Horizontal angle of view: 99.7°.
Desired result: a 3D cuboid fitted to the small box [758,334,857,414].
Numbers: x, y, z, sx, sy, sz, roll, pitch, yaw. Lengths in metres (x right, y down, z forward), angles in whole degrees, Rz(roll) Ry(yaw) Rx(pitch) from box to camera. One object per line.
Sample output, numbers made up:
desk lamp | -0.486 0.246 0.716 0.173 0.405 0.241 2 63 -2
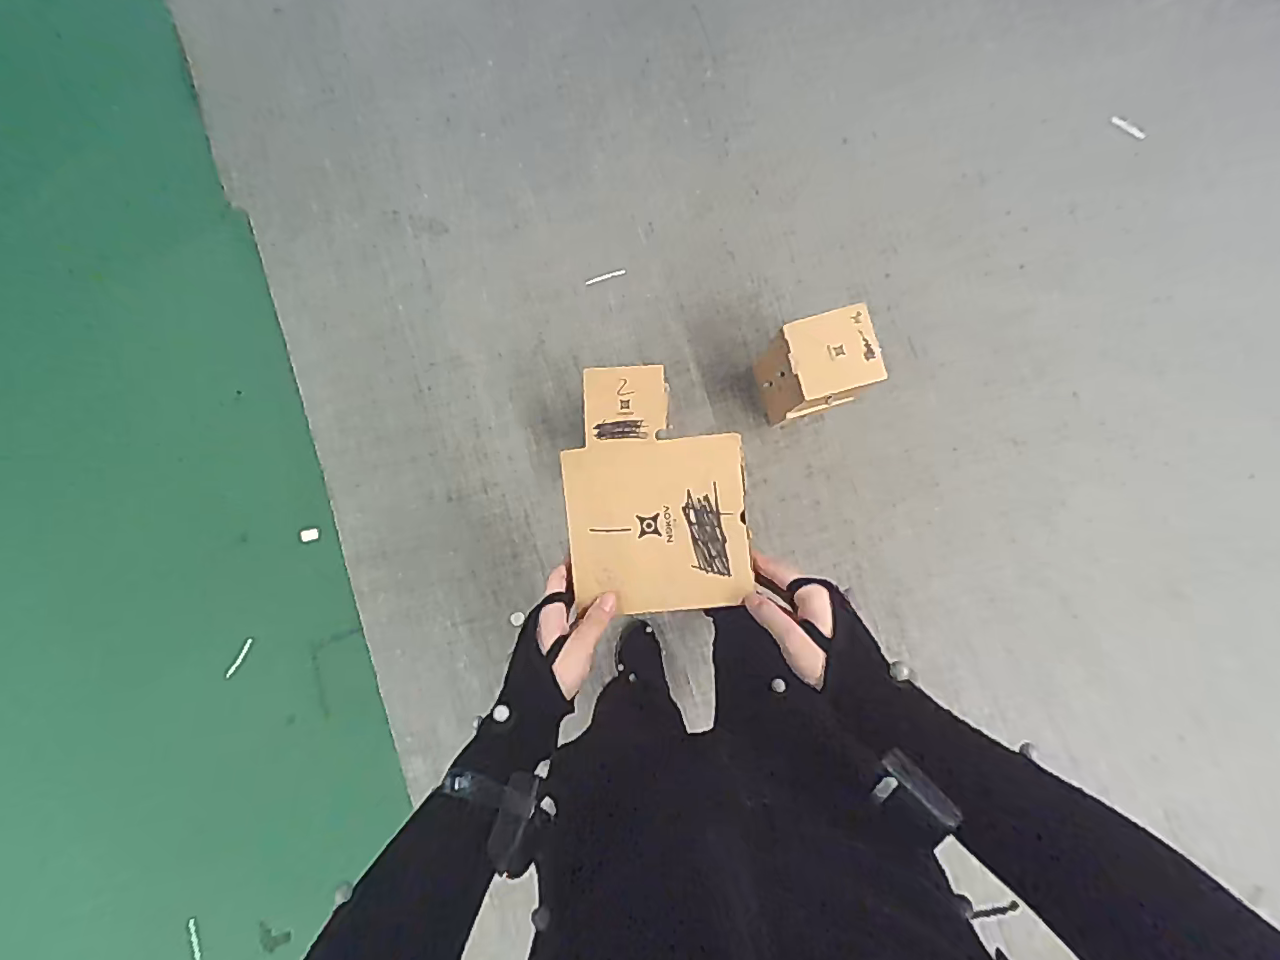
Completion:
small box | 0.396 -0.263 1.302 0.168 0.176 0.179 -15 88 2

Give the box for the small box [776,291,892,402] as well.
small box | 0.394 -0.271 1.137 0.179 0.176 0.168 -14 89 3

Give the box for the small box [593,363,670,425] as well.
small box | -0.017 -0.173 1.313 0.168 0.176 0.179 5 89 2

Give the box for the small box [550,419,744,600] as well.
small box | 0.009 0.024 0.582 0.179 0.176 0.168 -4 92 3
